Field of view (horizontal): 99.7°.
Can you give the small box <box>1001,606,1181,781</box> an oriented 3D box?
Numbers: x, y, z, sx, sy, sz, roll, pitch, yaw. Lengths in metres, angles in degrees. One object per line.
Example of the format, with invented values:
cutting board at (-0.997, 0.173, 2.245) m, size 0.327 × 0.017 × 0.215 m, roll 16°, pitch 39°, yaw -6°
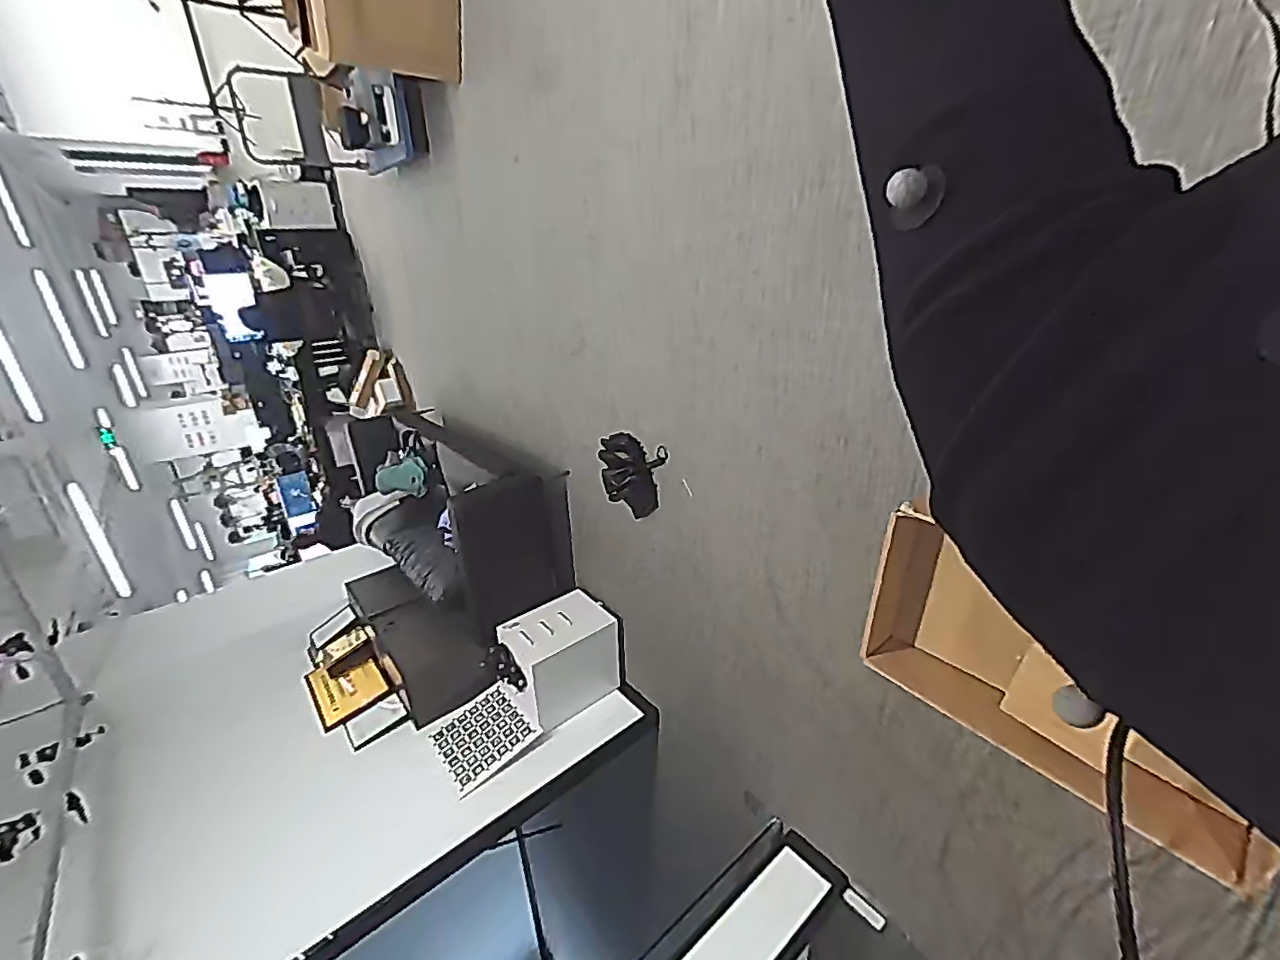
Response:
small box at (0.750, 0.342, 0.901) m, size 0.168 × 0.176 × 0.179 m, roll 32°, pitch 132°, yaw 45°
